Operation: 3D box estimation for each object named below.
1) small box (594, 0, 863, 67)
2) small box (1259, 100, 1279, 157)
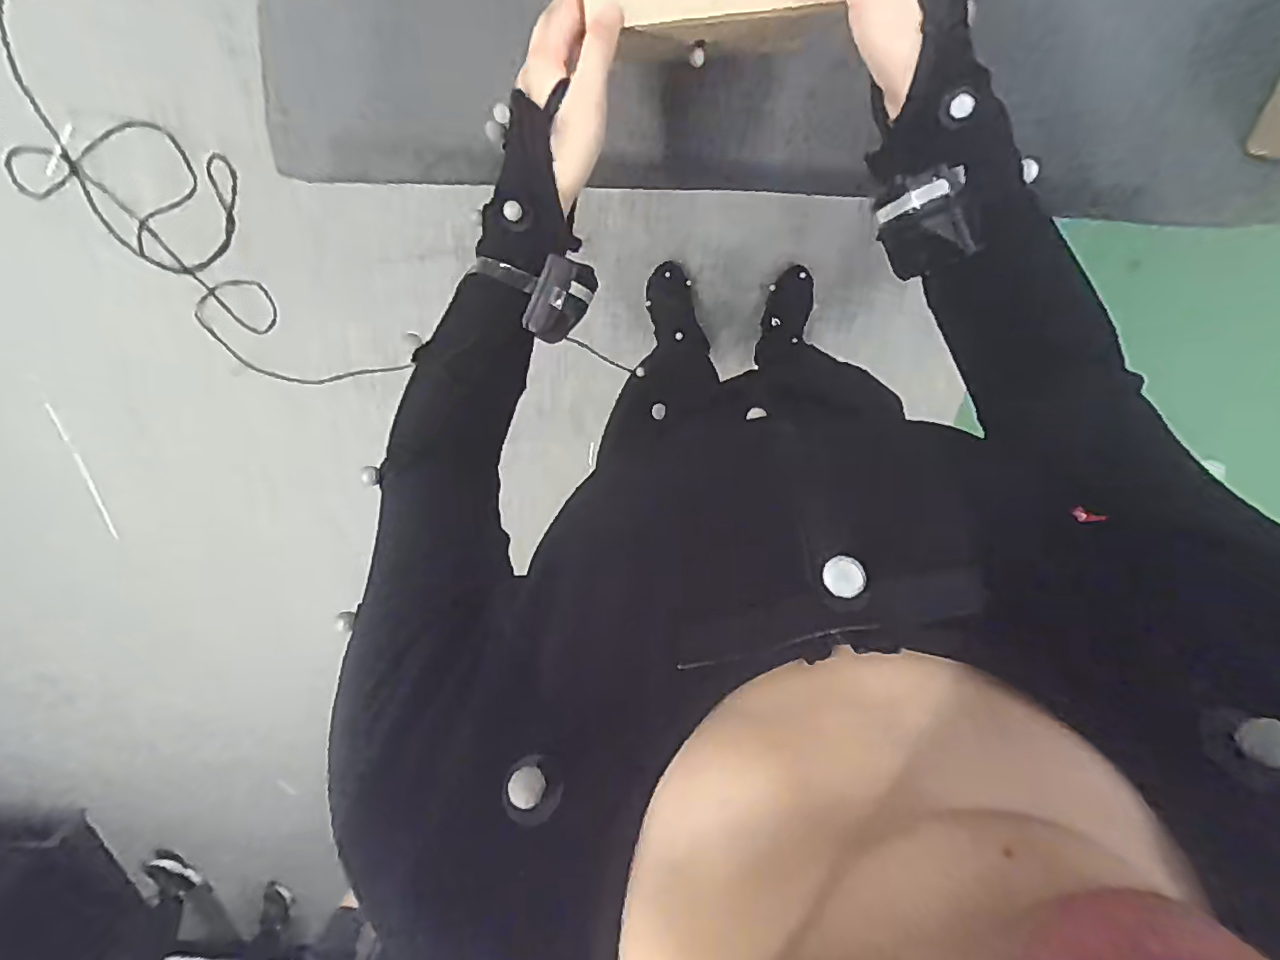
[{"bbox_3d":[0.056,-0.409,0.383,0.179,0.176,0.168,-2,121,4],"label":"small box"},{"bbox_3d":[0.709,-0.359,0.446,0.179,0.176,0.168,9,115,-2],"label":"small box"}]
